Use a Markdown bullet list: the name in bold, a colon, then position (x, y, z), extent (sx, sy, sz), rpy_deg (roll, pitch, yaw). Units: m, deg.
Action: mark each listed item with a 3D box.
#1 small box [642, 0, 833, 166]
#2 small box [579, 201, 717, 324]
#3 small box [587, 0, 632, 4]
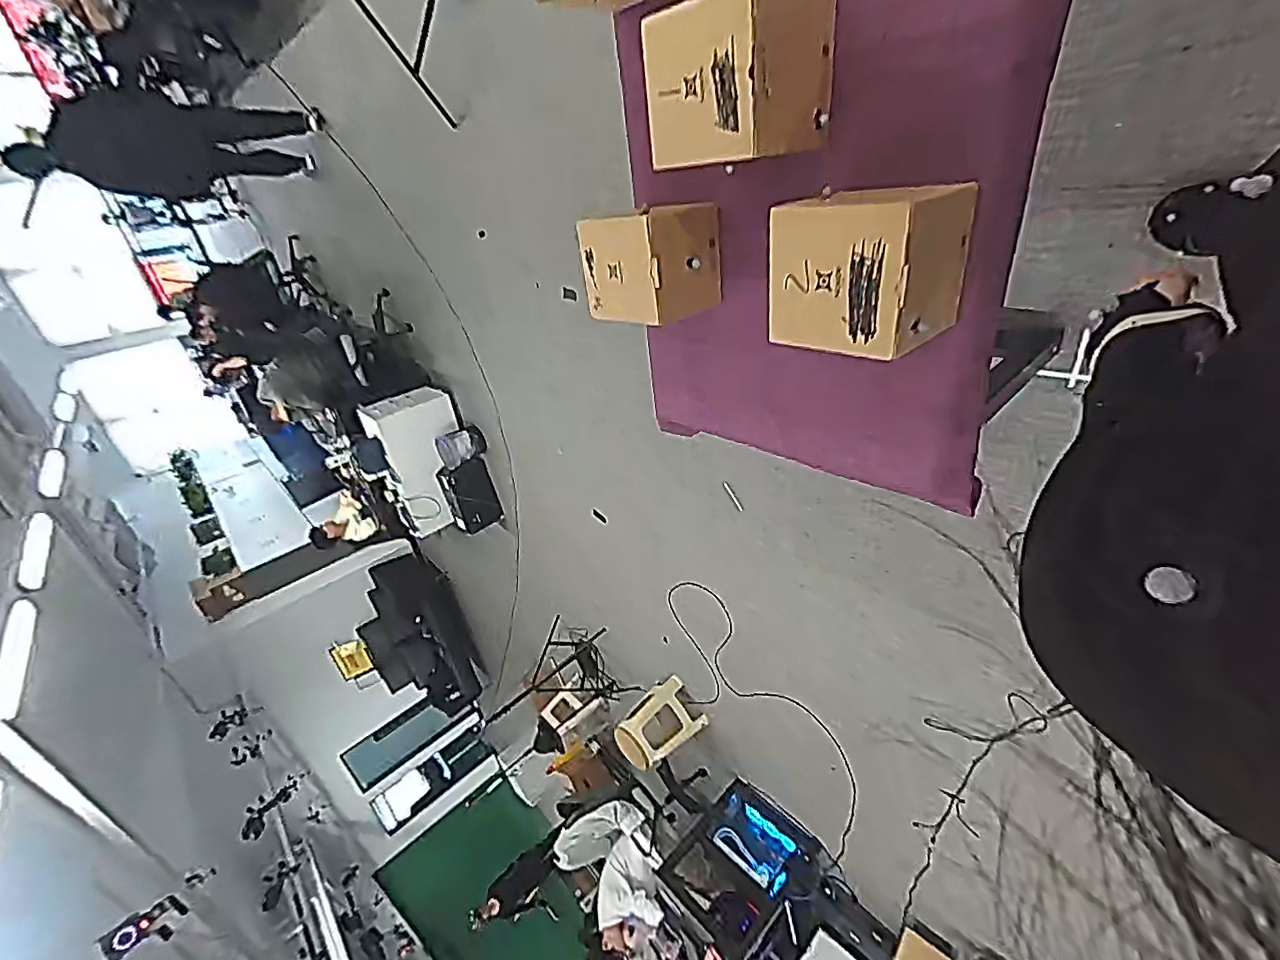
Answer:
- **small box**: position (0.129, -0.515, 0.702), extent (0.179, 0.176, 0.168), rpy_deg (25, 133, 43)
- **small box**: position (0.023, -0.382, 0.940), extent (0.179, 0.176, 0.168), rpy_deg (21, 130, 41)
- **small box**: position (-0.039, -0.771, 0.726), extent (0.179, 0.176, 0.168), rpy_deg (23, 132, 41)
